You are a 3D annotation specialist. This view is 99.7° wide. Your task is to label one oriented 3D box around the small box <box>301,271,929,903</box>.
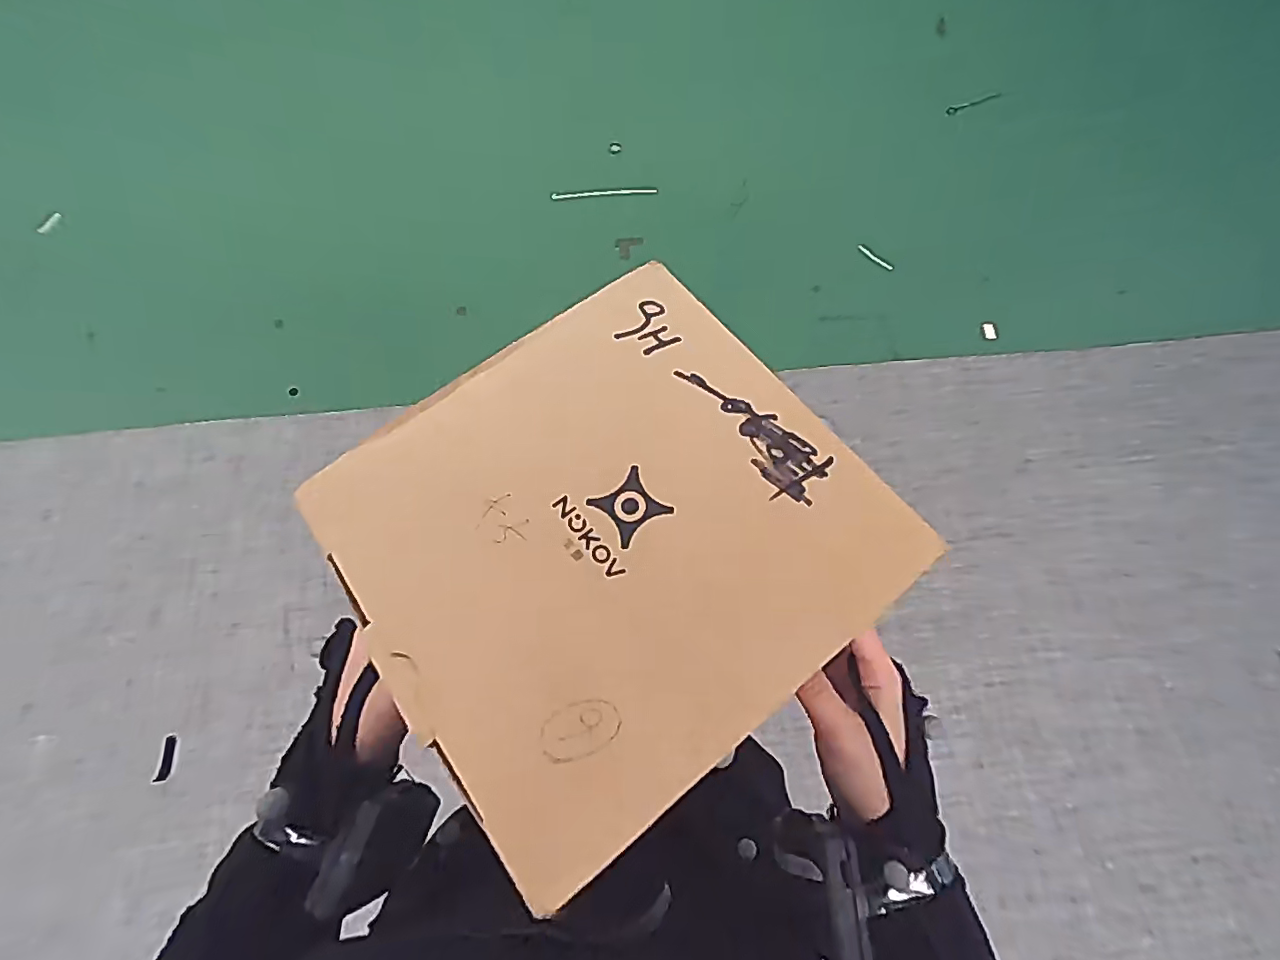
[{"bbox_3d":[-0.010,0.045,0.270,0.179,0.176,0.168,-37,72,-11],"label":"small box"}]
